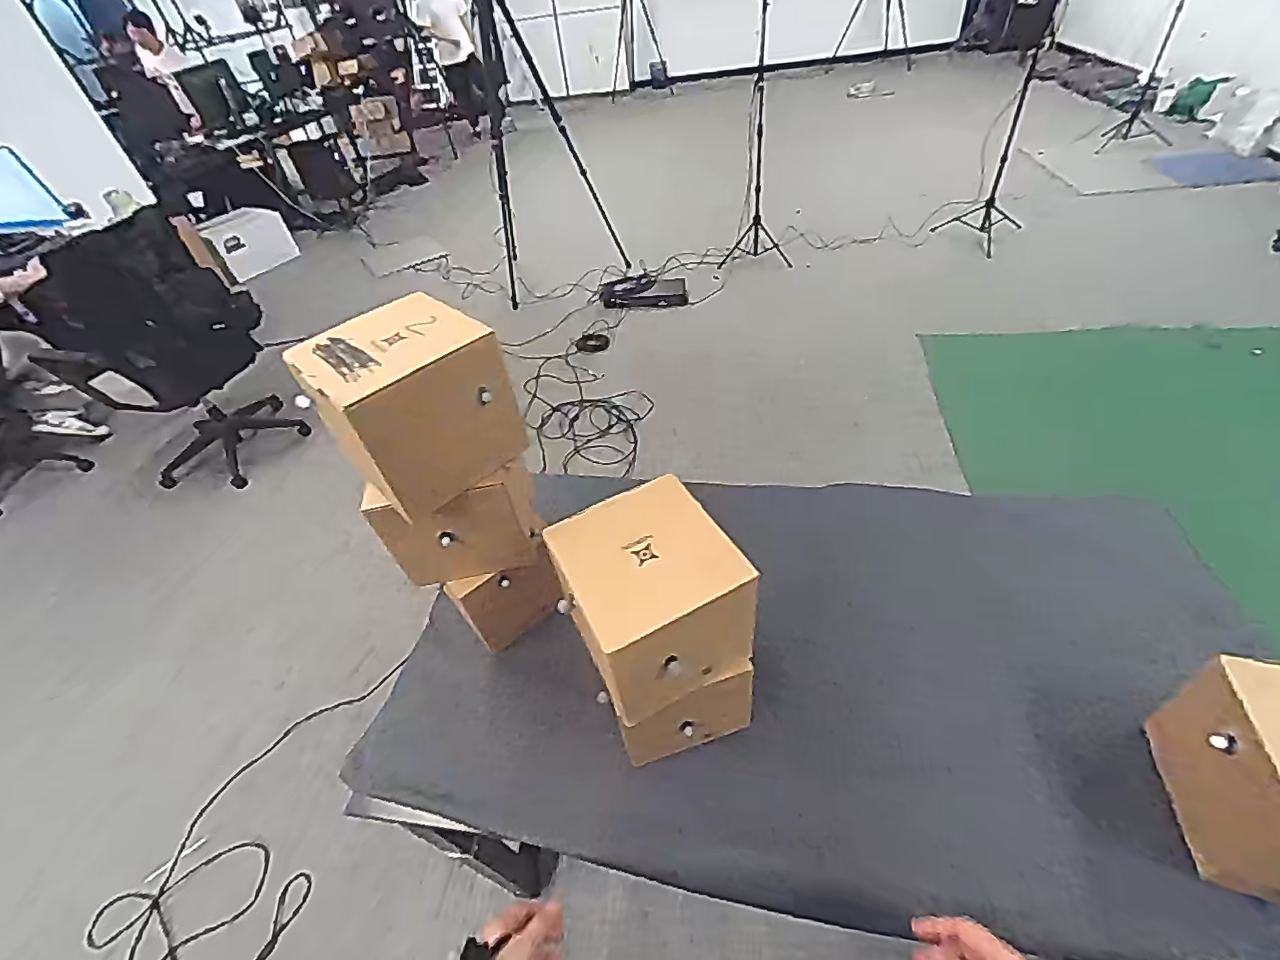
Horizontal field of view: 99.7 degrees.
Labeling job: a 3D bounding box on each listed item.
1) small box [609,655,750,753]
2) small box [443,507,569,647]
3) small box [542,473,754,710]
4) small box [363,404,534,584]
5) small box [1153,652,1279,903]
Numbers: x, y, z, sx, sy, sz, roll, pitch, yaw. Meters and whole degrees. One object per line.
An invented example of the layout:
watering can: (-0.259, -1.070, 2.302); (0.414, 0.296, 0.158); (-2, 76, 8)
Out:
small box: (0.038, 0.241, 0.725); (0.168, 0.176, 0.179); (-16, 44, -7)
small box: (-0.231, 0.135, 0.880); (0.168, 0.176, 0.179); (-35, 50, -24)
small box: (0.012, 0.130, 0.609); (0.168, 0.176, 0.179); (-24, 45, -15)
small box: (-0.251, 0.022, 0.762); (0.179, 0.176, 0.168); (-12, 45, -2)
small box: (0.672, 0.307, 0.539); (0.168, 0.176, 0.179); (6, 43, 18)
